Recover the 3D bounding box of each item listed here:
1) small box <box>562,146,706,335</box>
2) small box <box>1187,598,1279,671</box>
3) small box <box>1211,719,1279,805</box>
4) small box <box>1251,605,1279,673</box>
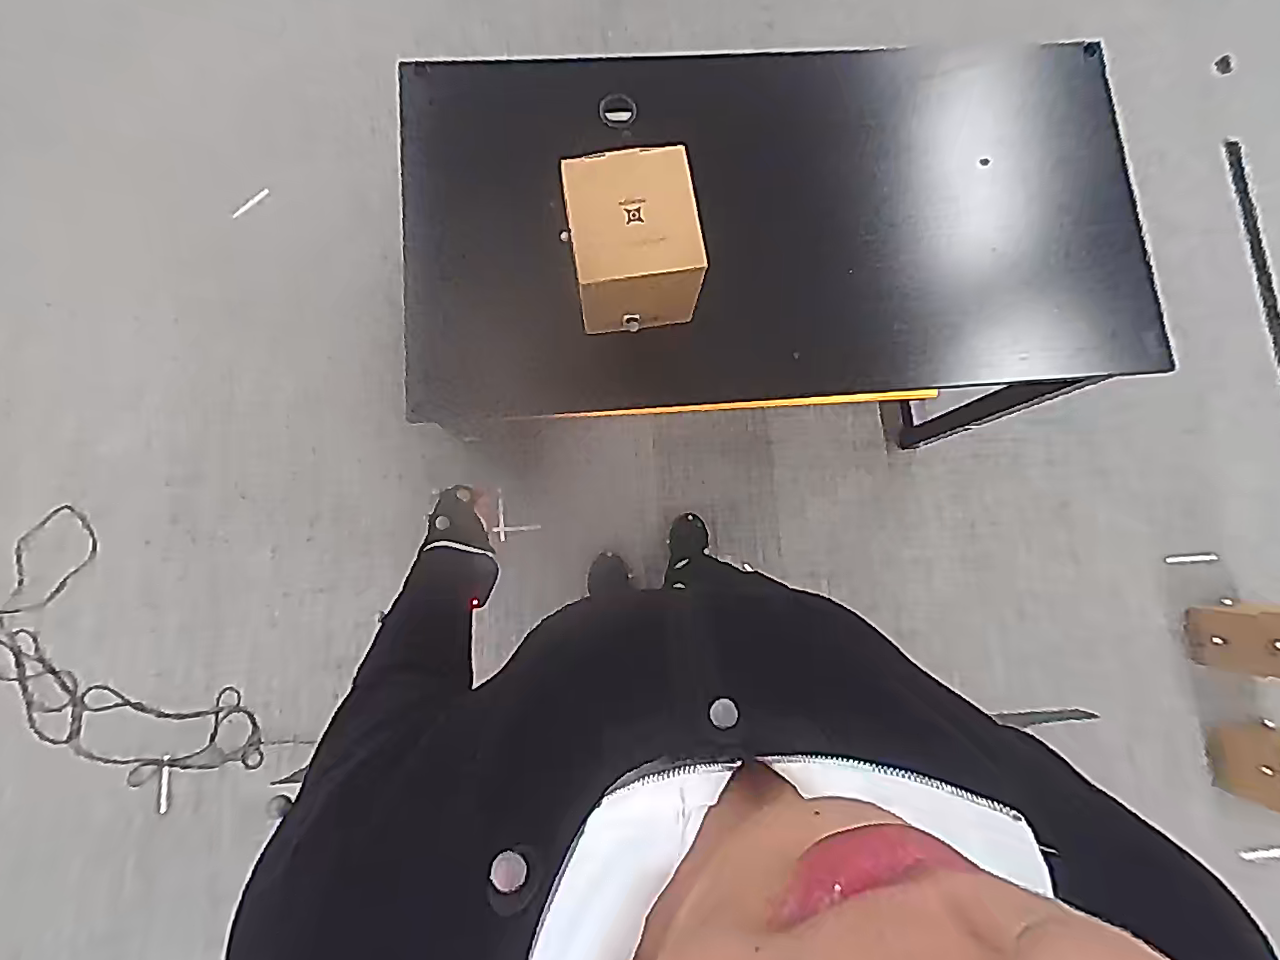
[{"bbox_3d":[-0.013,-0.330,0.772,0.168,0.176,0.179,-10,84,-3],"label":"small box"},{"bbox_3d":[1.659,0.416,1.478,0.179,0.176,0.168,-5,82,-2],"label":"small box"},{"bbox_3d":[1.685,0.747,1.436,0.168,0.176,0.179,-1,84,-2],"label":"small box"},{"bbox_3d":[1.669,0.395,1.313,0.179,0.176,0.168,1,82,-2],"label":"small box"}]
